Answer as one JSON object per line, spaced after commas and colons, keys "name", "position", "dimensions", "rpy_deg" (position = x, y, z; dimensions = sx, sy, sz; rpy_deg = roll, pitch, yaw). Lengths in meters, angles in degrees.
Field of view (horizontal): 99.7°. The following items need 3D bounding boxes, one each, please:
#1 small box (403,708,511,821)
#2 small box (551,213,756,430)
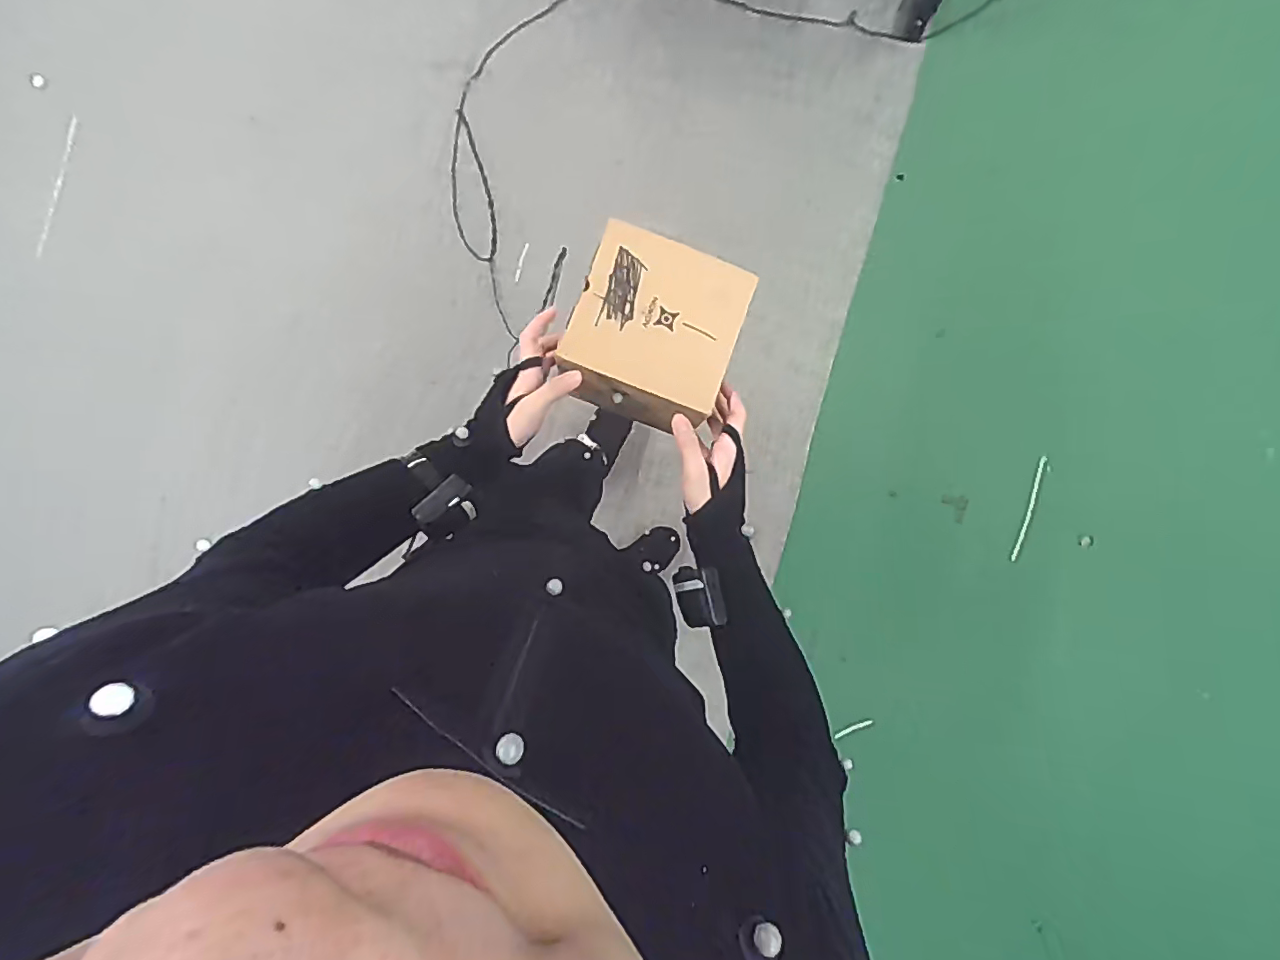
{"name": "small box", "position": [-0.441, 0.686, 1.328], "dimensions": [0.179, 0.176, 0.168], "rpy_deg": [17, 90, 4]}
{"name": "small box", "position": [0.009, -0.170, 0.642], "dimensions": [0.179, 0.176, 0.168], "rpy_deg": [20, 84, -4]}
